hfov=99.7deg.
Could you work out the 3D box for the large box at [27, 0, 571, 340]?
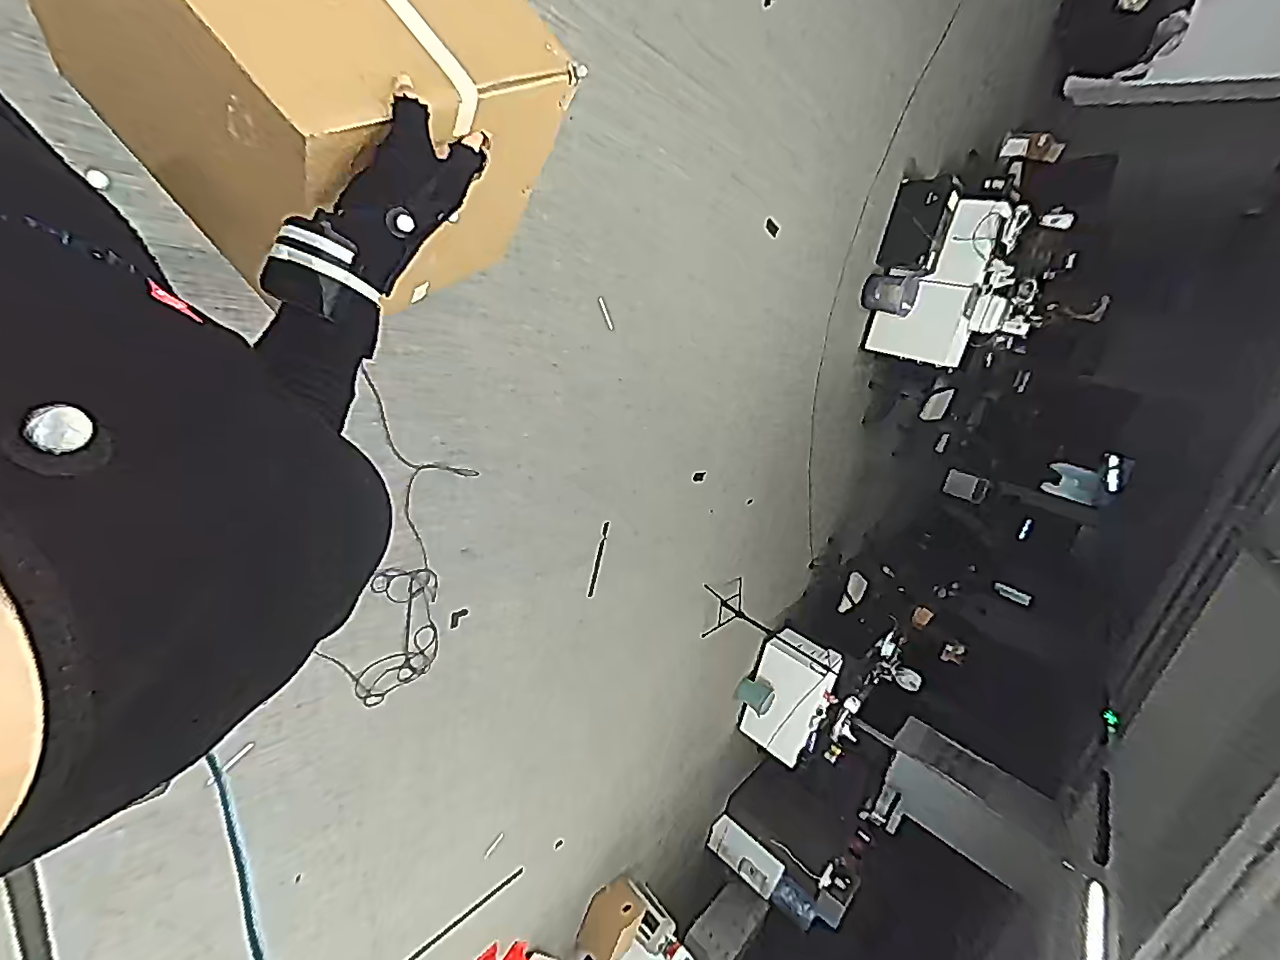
[{"bbox_3d":[-0.362,-0.442,0.588,0.408,0.320,0.320,50,55,-6],"label":"large box"}]
